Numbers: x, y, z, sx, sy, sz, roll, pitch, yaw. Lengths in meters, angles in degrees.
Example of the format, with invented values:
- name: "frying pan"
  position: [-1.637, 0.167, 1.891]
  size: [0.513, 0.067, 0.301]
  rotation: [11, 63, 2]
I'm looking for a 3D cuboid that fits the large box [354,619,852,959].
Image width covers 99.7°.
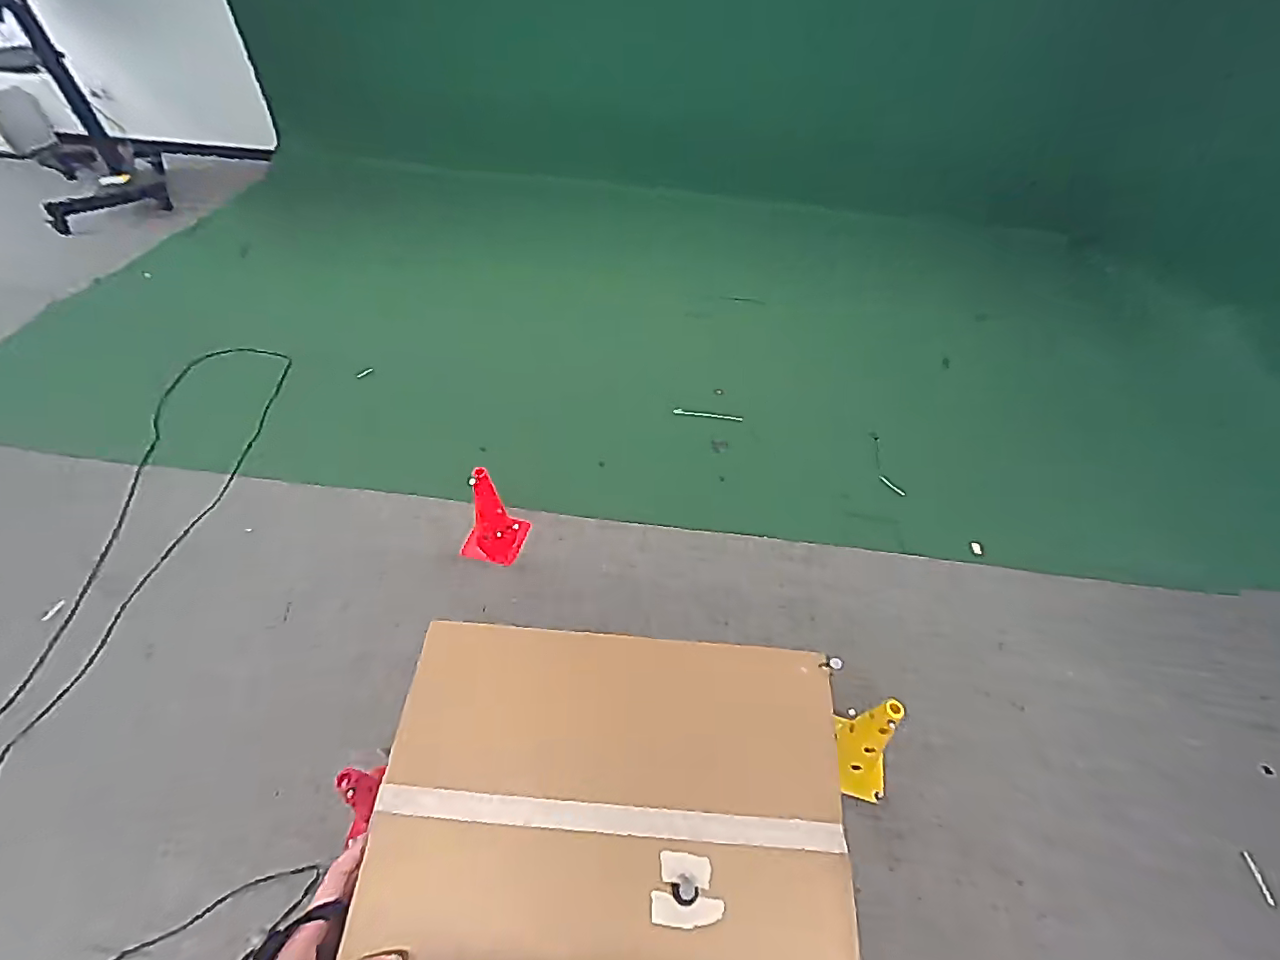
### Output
- name: "large box"
  position: [-0.026, 0.366, 0.613]
  size: [0.408, 0.320, 0.320]
  rotation: [4, 60, 1]

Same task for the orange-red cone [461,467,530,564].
- name: "orange-red cone"
  position: [-0.512, 0.092, 1.813]
  size: [0.199, 0.360, 0.198]
  rotation: [11, 48, 9]
